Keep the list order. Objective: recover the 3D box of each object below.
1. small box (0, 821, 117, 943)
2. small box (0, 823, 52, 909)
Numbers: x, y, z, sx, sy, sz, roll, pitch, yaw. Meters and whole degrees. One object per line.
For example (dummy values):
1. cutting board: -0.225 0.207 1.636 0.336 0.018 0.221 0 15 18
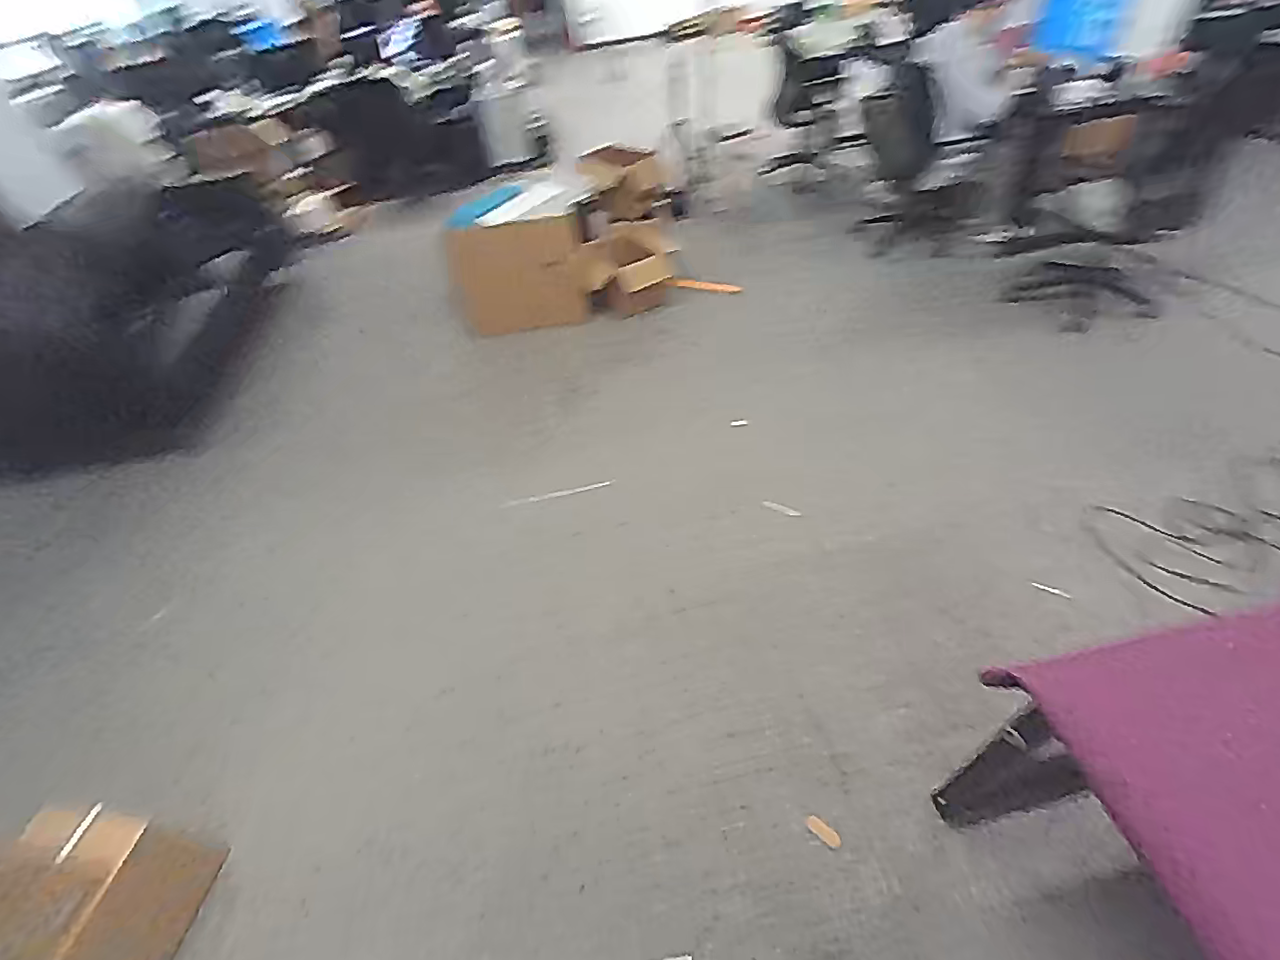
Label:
1. small box: -1.273 0.834 1.120 0.179 0.176 0.168 5 48 11
2. small box: -1.282 0.725 0.999 0.179 0.176 0.168 3 47 10
